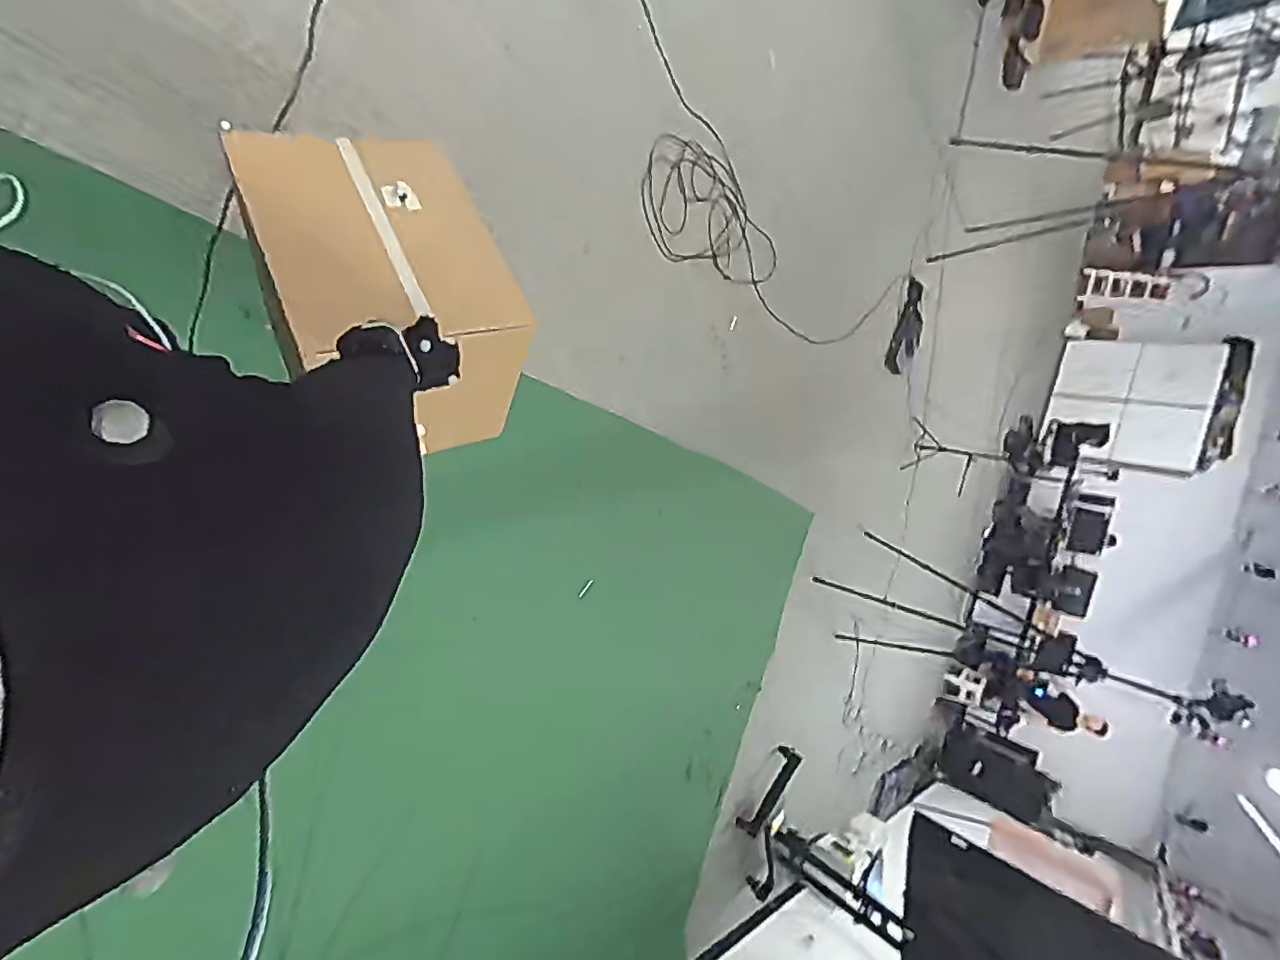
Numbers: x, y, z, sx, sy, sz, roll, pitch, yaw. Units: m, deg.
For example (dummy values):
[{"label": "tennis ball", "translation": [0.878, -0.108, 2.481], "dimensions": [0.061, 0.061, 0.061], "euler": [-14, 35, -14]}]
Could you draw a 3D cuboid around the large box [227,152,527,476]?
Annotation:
[{"label": "large box", "translation": [-0.436, -0.277, 0.924], "dimensions": [0.320, 0.320, 0.408], "euler": [-18, 70, -32]}]
